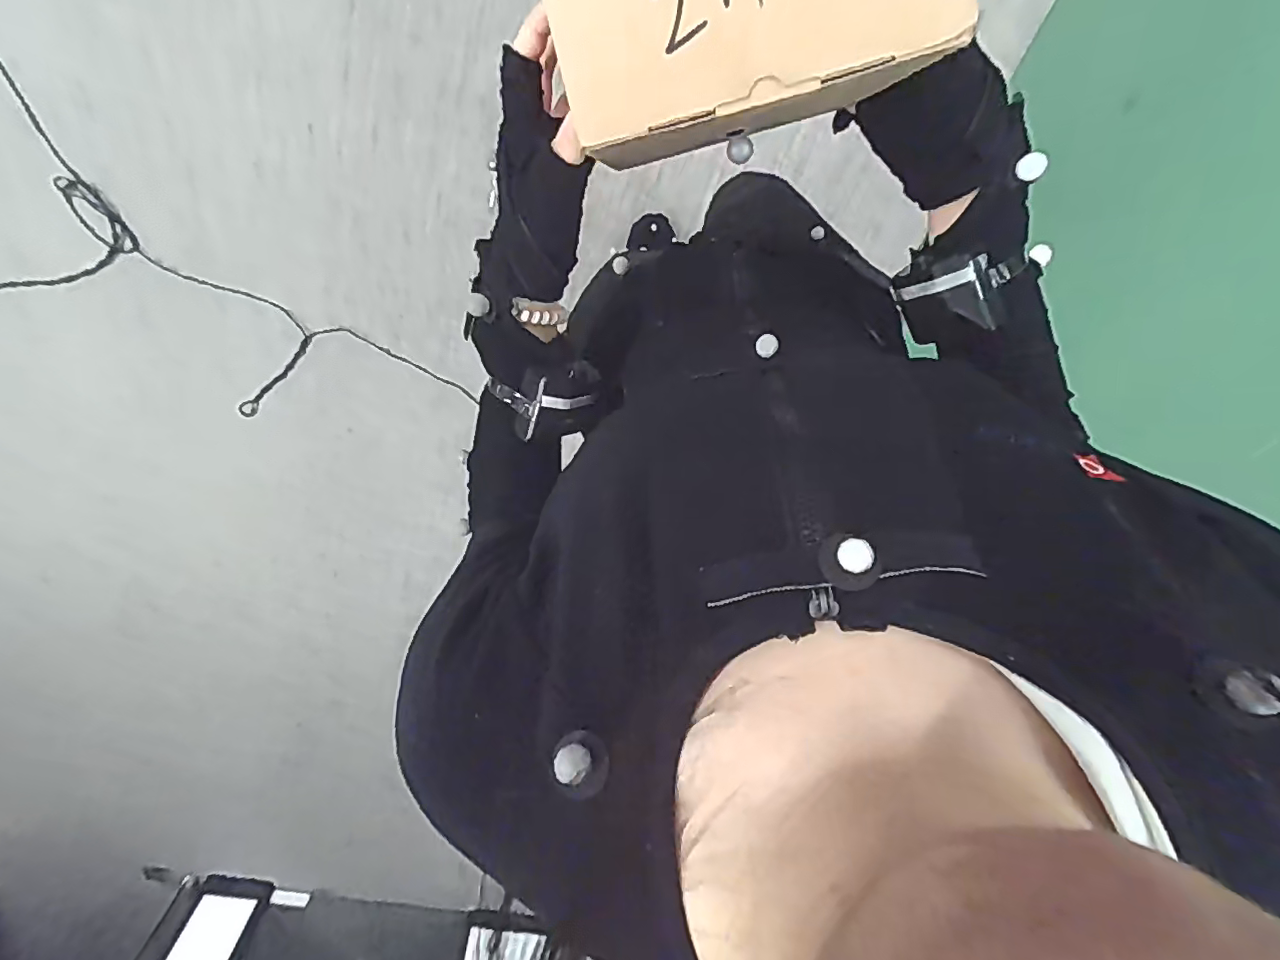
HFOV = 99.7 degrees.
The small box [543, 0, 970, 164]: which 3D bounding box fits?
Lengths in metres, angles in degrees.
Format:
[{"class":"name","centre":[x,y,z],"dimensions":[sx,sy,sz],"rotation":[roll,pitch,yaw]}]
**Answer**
[{"class":"small box","centre":[0.036,-0.273,0.261],"dimensions":[0.168,0.176,0.179],"rotation":[-10,117,9]}]
